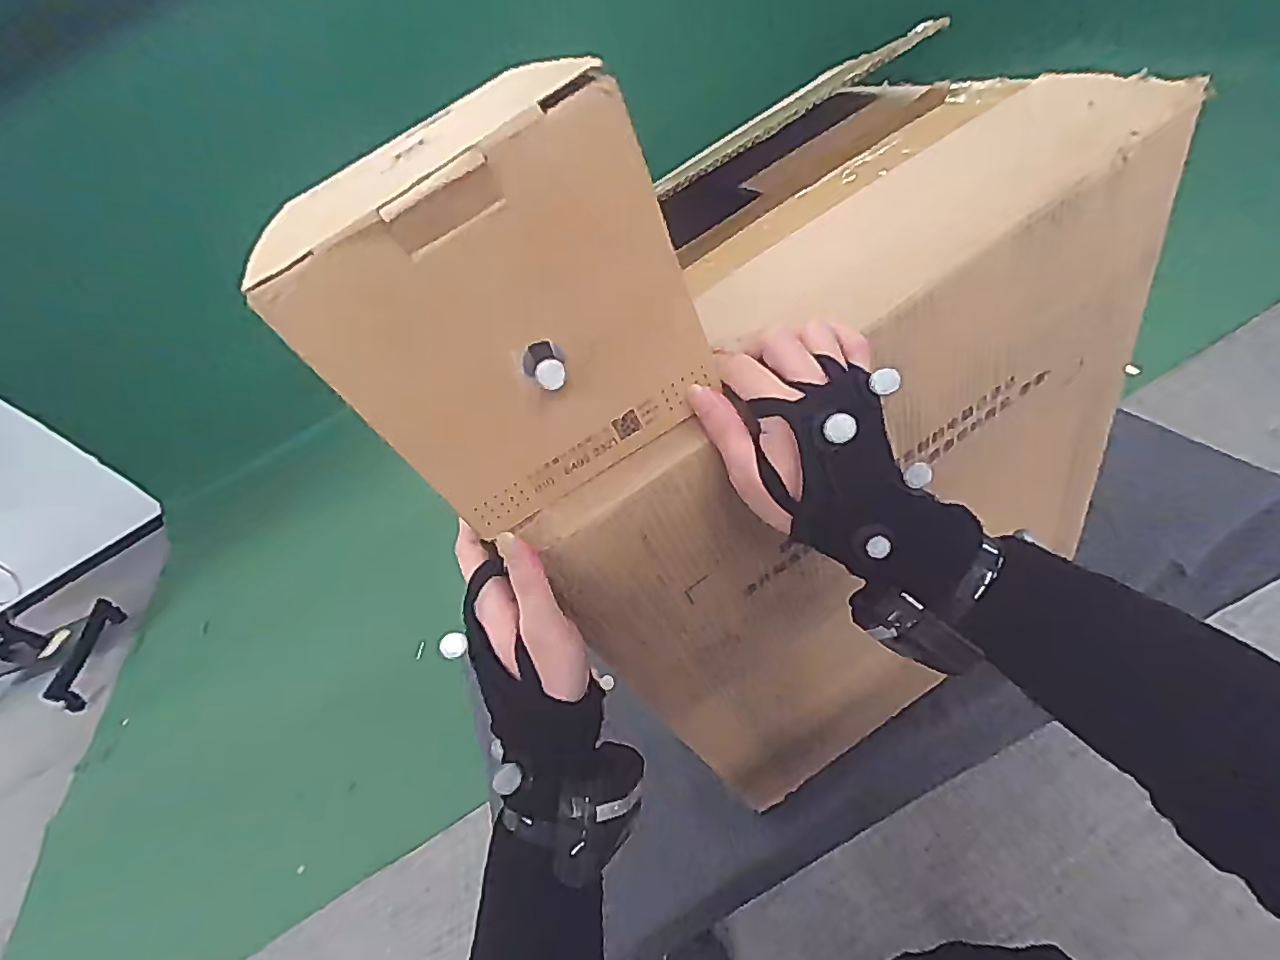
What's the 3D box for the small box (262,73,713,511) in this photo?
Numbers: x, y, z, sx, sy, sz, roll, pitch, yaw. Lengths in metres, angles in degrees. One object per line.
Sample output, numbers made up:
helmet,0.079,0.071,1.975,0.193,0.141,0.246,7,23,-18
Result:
small box,-0.079,-0.104,0.324,0.168,0.176,0.179,-32,44,-3
